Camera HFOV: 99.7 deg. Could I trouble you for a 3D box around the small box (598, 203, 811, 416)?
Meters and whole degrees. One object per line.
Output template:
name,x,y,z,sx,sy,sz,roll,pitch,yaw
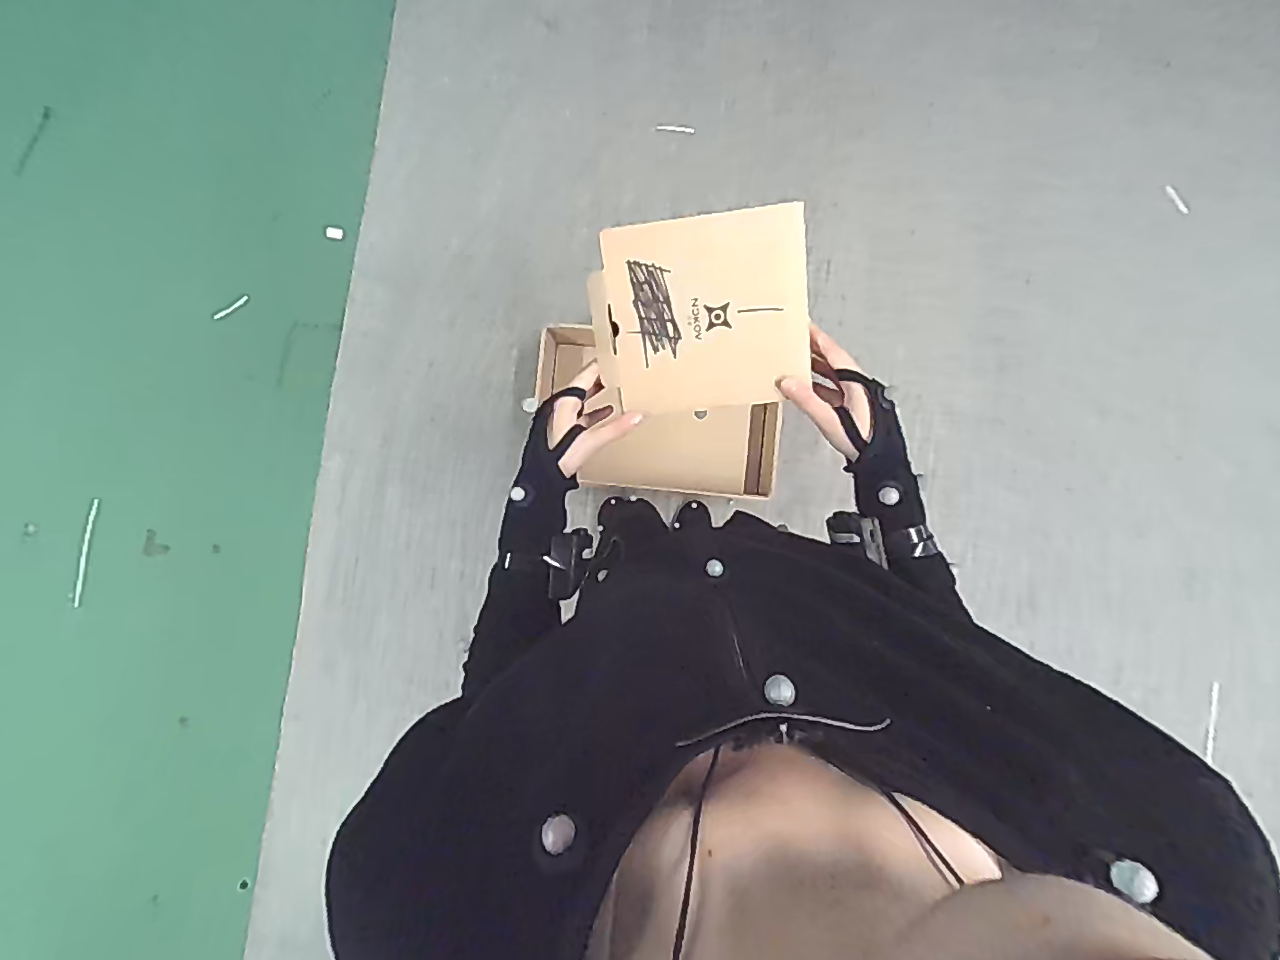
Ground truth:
small box,0.065,-0.164,0.555,0.179,0.176,0.168,-7,104,5
